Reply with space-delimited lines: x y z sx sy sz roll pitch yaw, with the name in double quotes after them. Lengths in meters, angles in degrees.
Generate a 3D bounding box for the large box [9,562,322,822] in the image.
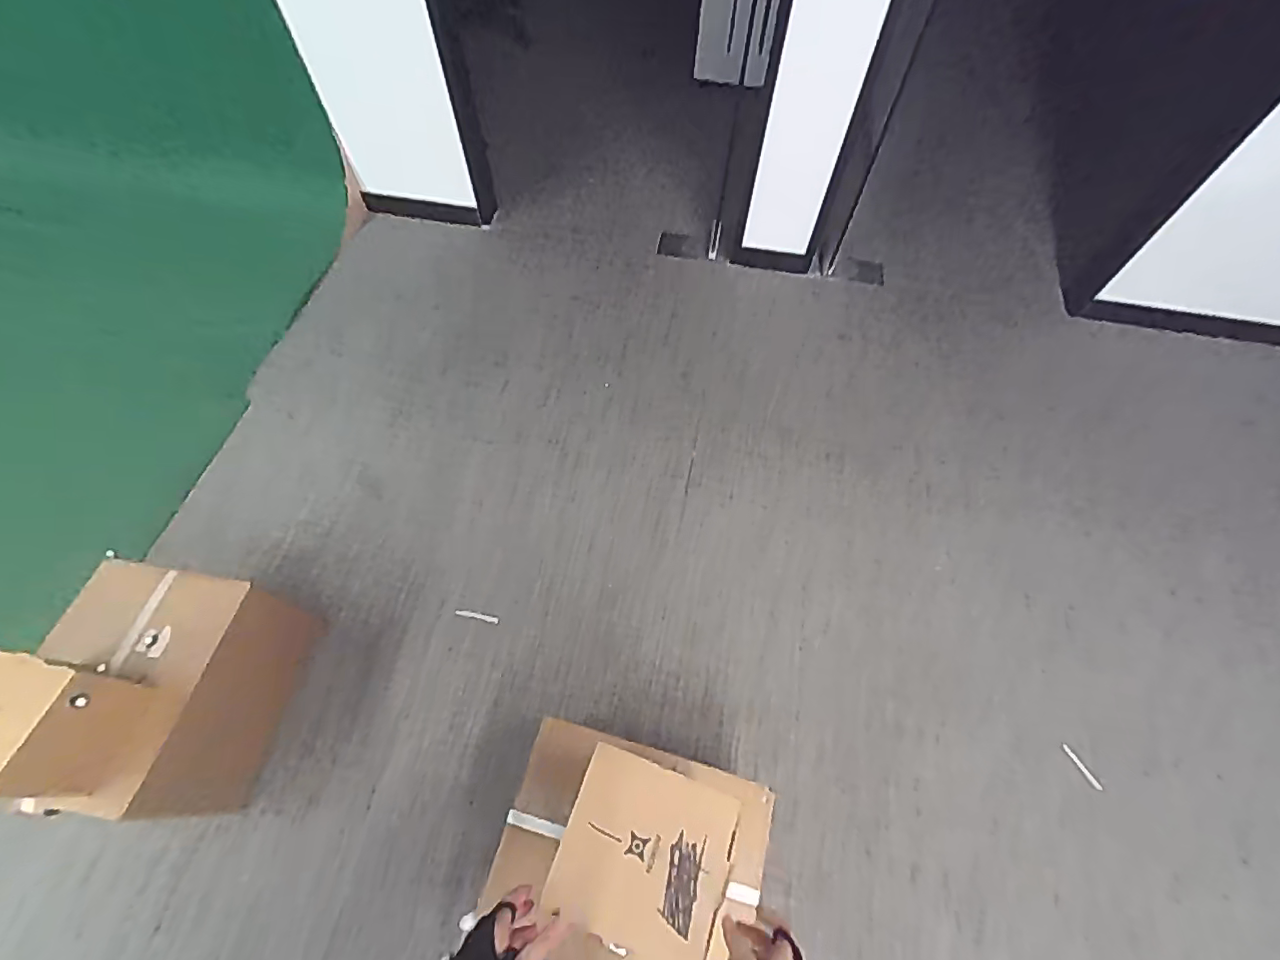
-0.939 0.429 1.086 0.320 0.320 0.408 10 59 4 "large box"

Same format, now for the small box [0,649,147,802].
-0.933 0.380 0.830 0.168 0.176 0.179 13 59 5 "small box"

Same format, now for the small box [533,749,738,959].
-0.003 0.442 0.638 0.179 0.176 0.168 19 58 9 "small box"
